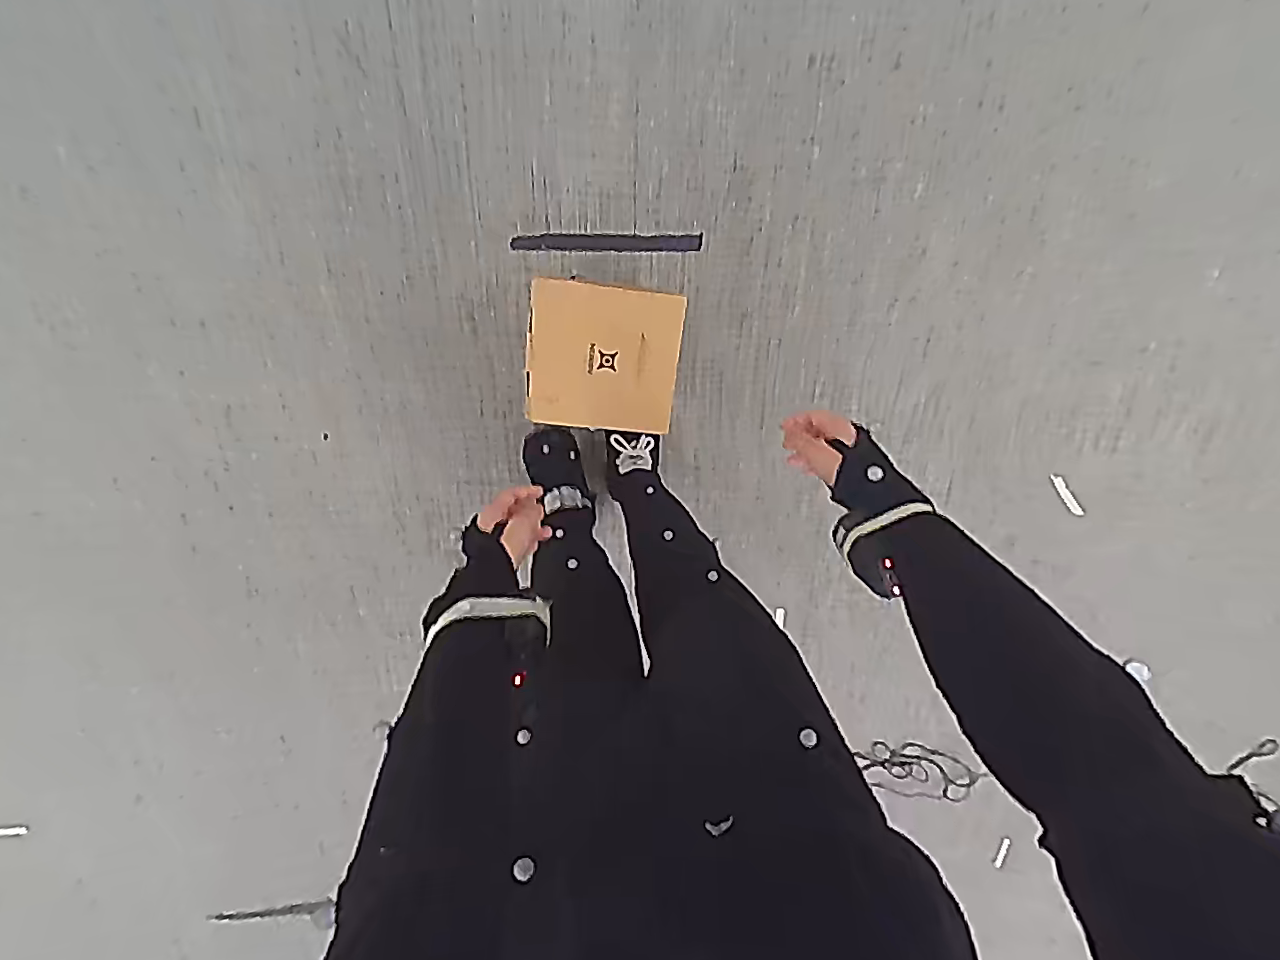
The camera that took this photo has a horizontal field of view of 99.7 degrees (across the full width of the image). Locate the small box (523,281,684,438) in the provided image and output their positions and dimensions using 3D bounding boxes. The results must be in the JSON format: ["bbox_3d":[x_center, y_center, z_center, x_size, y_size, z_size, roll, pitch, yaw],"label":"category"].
[{"bbox_3d":[-0.052,-0.163,0.704,0.179,0.176,0.168,4,112,-8],"label":"small box"}]
